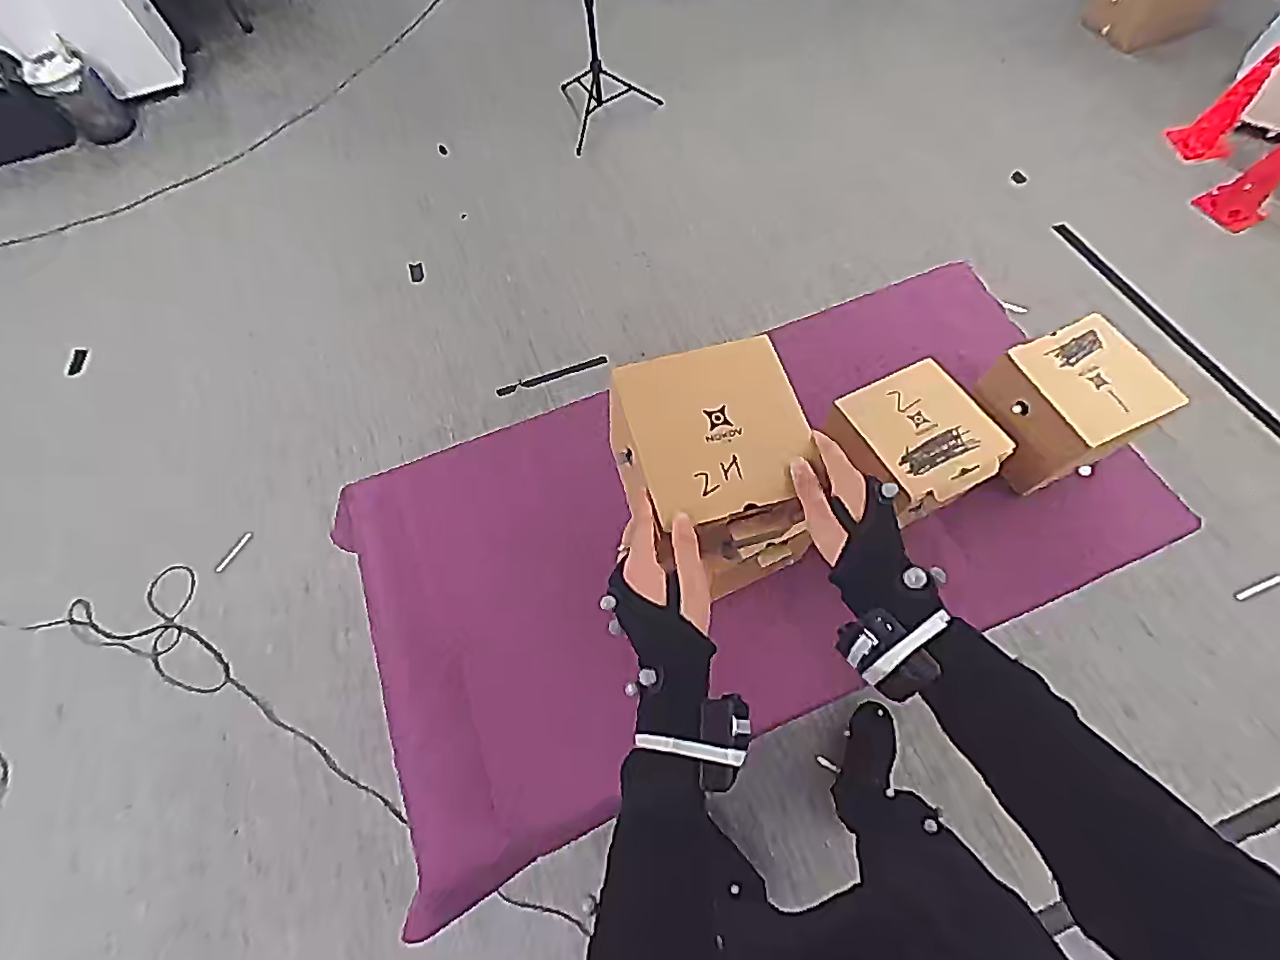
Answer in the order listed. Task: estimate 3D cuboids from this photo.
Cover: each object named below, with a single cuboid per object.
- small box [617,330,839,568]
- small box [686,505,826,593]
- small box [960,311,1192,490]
[{"bbox_3d":[0.073,-0.024,0.571,0.168,0.176,0.179,-15,70,-8],"label":"small box"},{"bbox_3d":[0.133,0.047,0.775,0.168,0.176,0.179,-23,66,-8],"label":"small box"},{"bbox_3d":[0.632,-0.113,0.815,0.168,0.176,0.179,-23,66,-6],"label":"small box"}]
